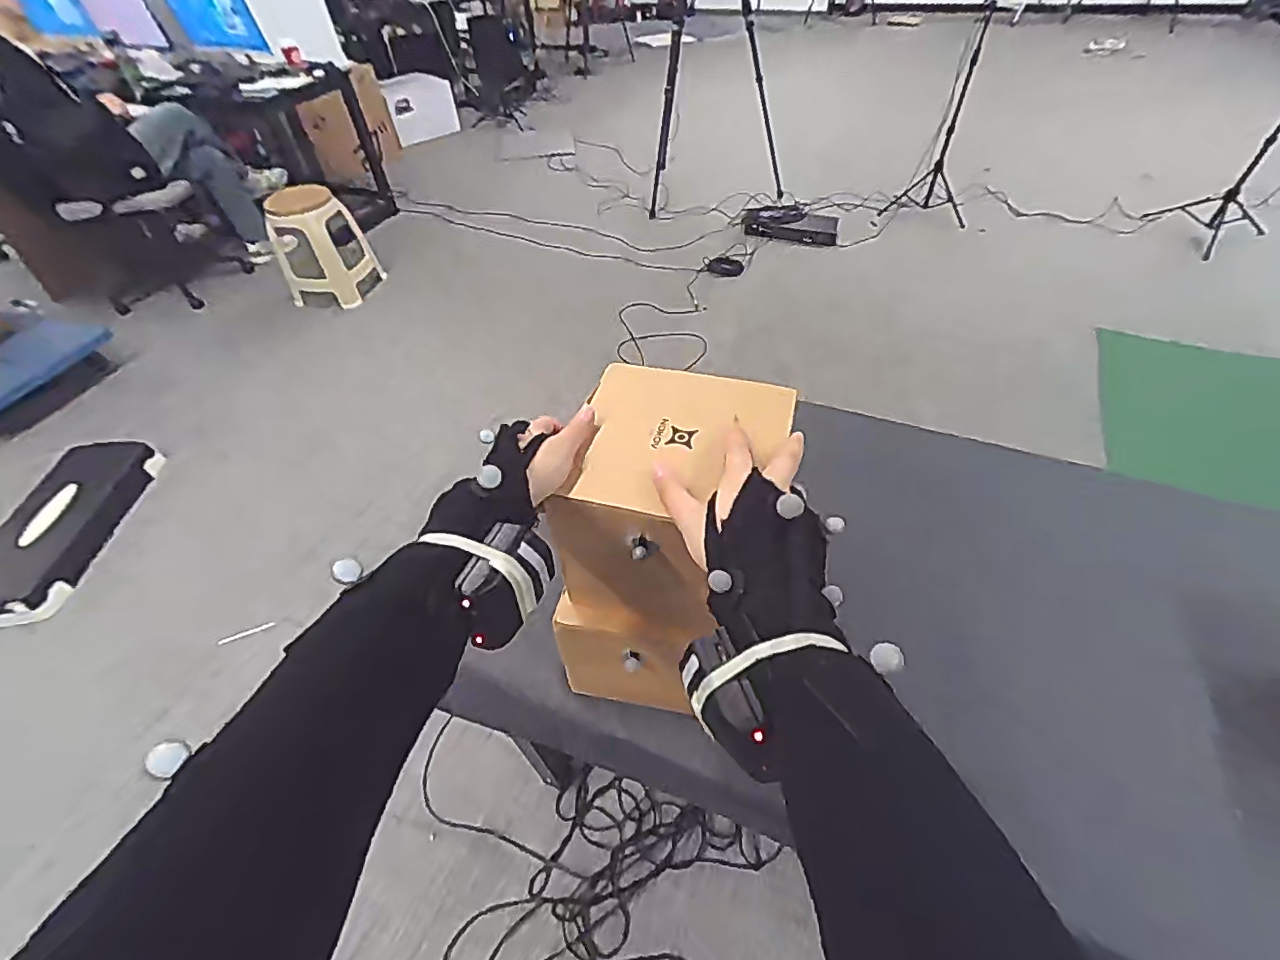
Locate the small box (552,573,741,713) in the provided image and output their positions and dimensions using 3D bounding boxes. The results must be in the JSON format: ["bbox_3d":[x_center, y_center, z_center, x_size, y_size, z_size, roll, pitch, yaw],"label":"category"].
[{"bbox_3d":[0.022,0.140,0.601,0.179,0.176,0.168,7,48,10],"label":"small box"}]

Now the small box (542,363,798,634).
[{"bbox_3d":[0.034,0.019,0.493,0.179,0.176,0.168,11,51,12],"label":"small box"}]
